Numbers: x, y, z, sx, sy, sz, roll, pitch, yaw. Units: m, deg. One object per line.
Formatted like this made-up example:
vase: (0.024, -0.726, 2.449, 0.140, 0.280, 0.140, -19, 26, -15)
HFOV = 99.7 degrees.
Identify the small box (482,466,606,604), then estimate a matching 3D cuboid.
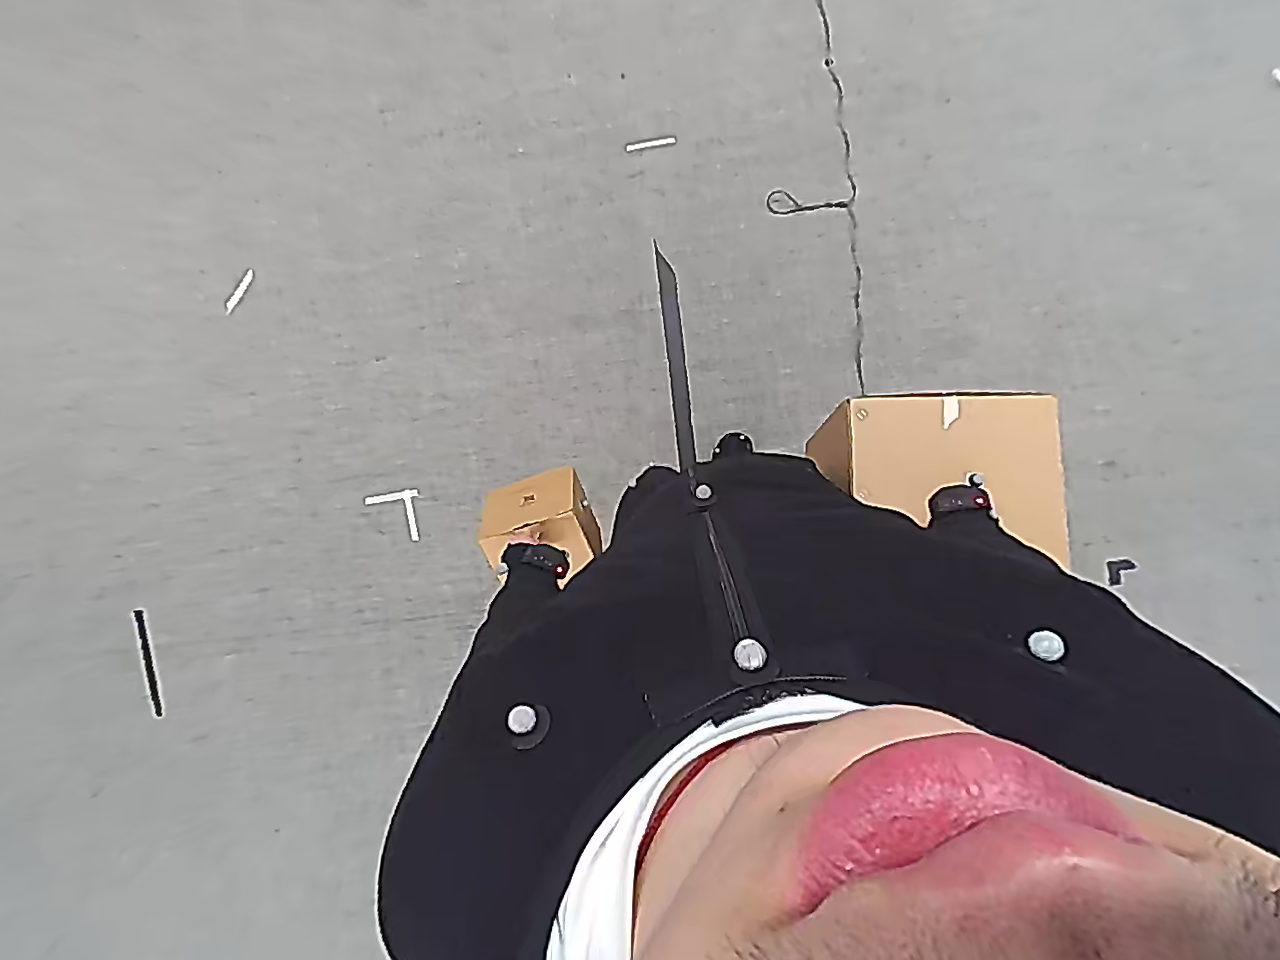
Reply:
small box: (-0.166, 0.105, 0.987, 0.168, 0.179, 0.176, -17, 118, 3)
